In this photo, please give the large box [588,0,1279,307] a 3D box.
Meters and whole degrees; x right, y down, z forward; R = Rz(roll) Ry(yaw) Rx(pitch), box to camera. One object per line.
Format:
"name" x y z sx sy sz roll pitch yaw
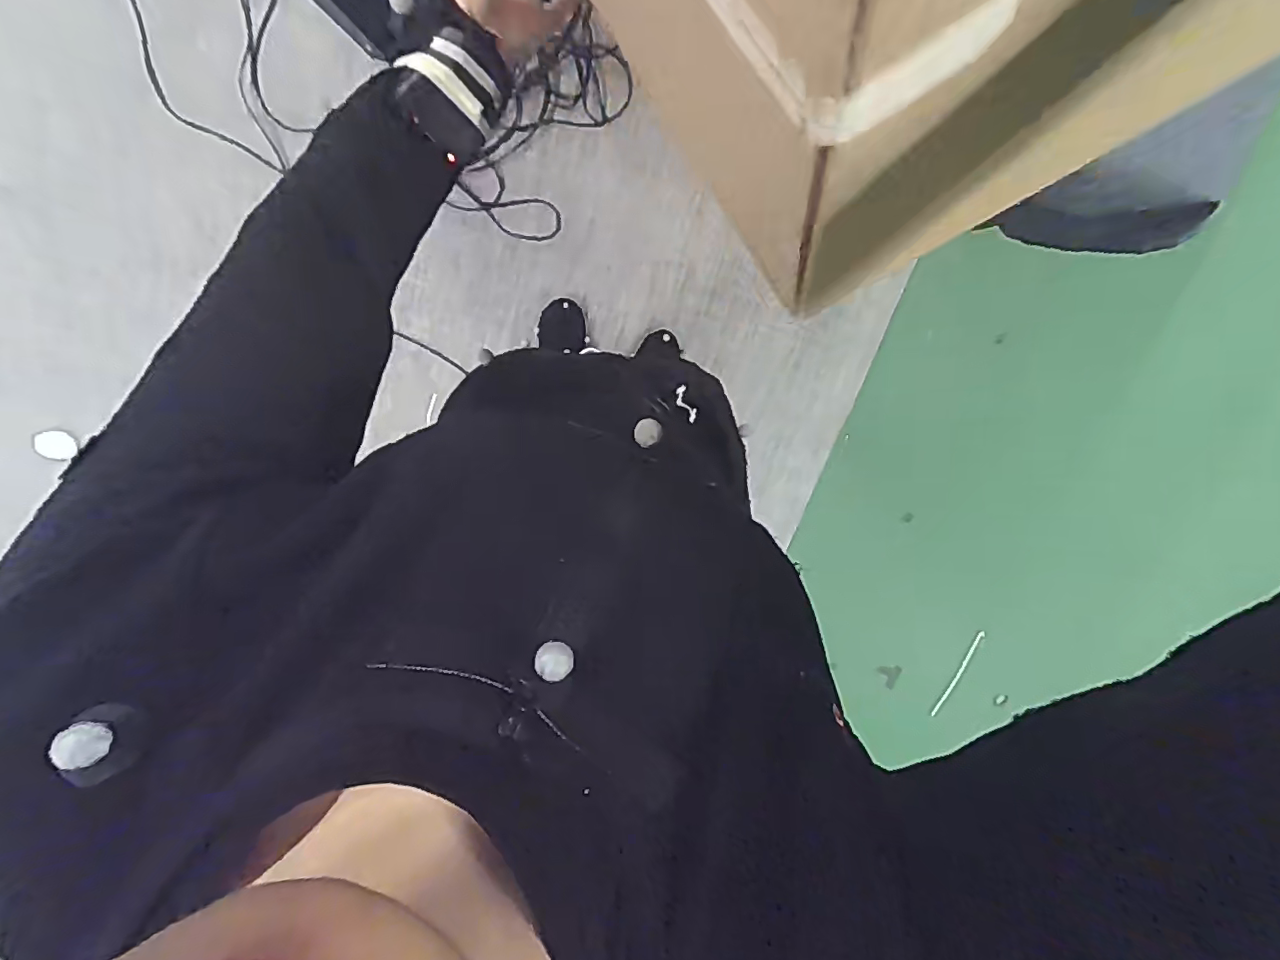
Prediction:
"large box" 0.101 -0.356 0.201 0.320 0.320 0.408 -30 77 5
